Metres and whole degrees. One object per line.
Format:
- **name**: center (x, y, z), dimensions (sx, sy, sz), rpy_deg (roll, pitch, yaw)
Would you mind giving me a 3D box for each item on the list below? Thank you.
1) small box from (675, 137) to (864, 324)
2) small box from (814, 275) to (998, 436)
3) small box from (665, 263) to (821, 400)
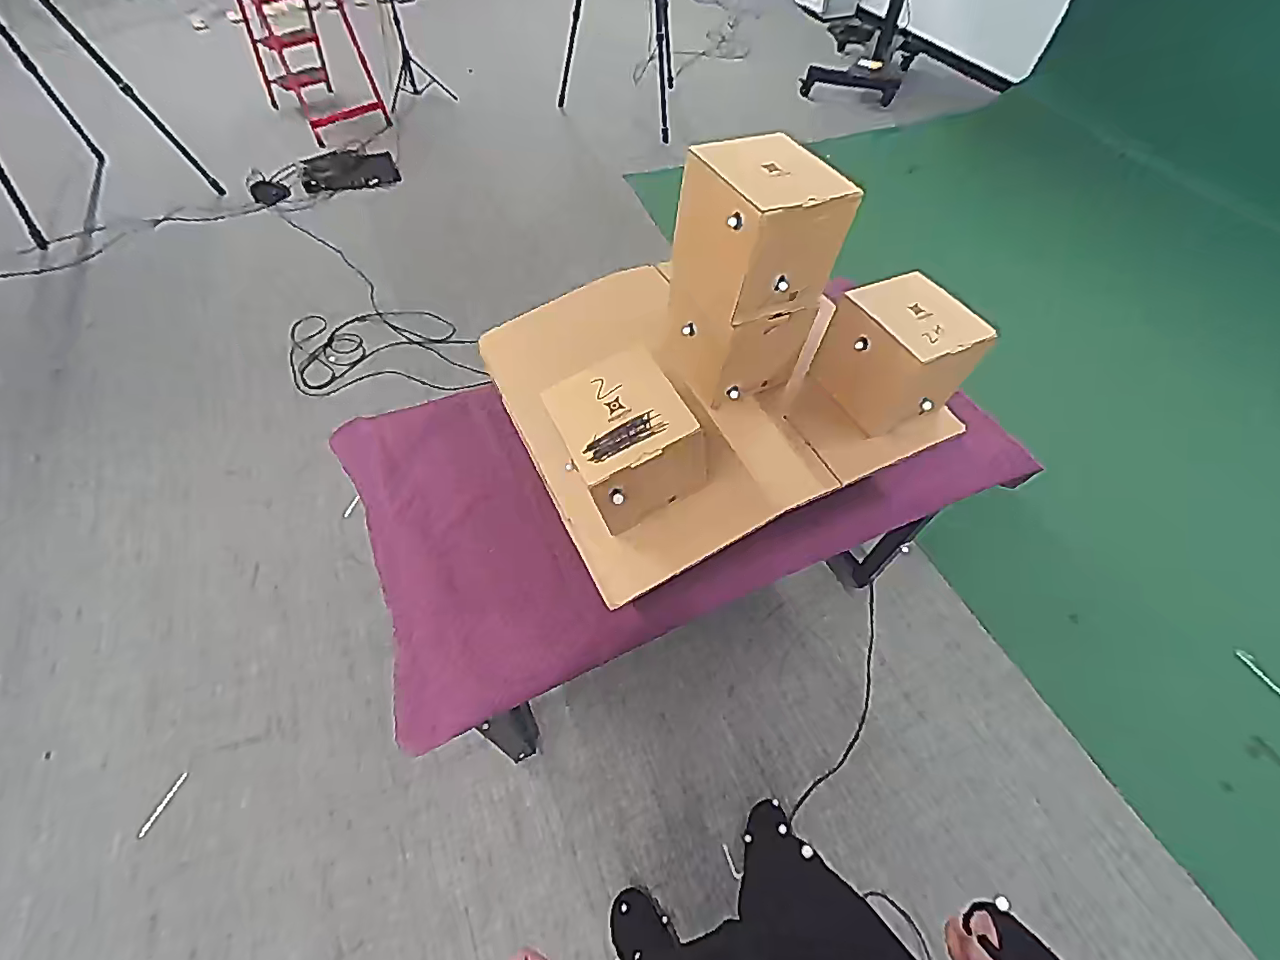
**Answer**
- **small box**: center (0.167, -0.352, 0.766), dimensions (0.168, 0.176, 0.179), rpy_deg (-21, 60, -21)
- **small box**: center (0.419, -0.203, 0.888), dimensions (0.168, 0.176, 0.179), rpy_deg (-20, 59, -19)
- **small box**: center (0.158, -0.252, 0.893), dimensions (0.168, 0.176, 0.179), rpy_deg (-21, 58, -21)
